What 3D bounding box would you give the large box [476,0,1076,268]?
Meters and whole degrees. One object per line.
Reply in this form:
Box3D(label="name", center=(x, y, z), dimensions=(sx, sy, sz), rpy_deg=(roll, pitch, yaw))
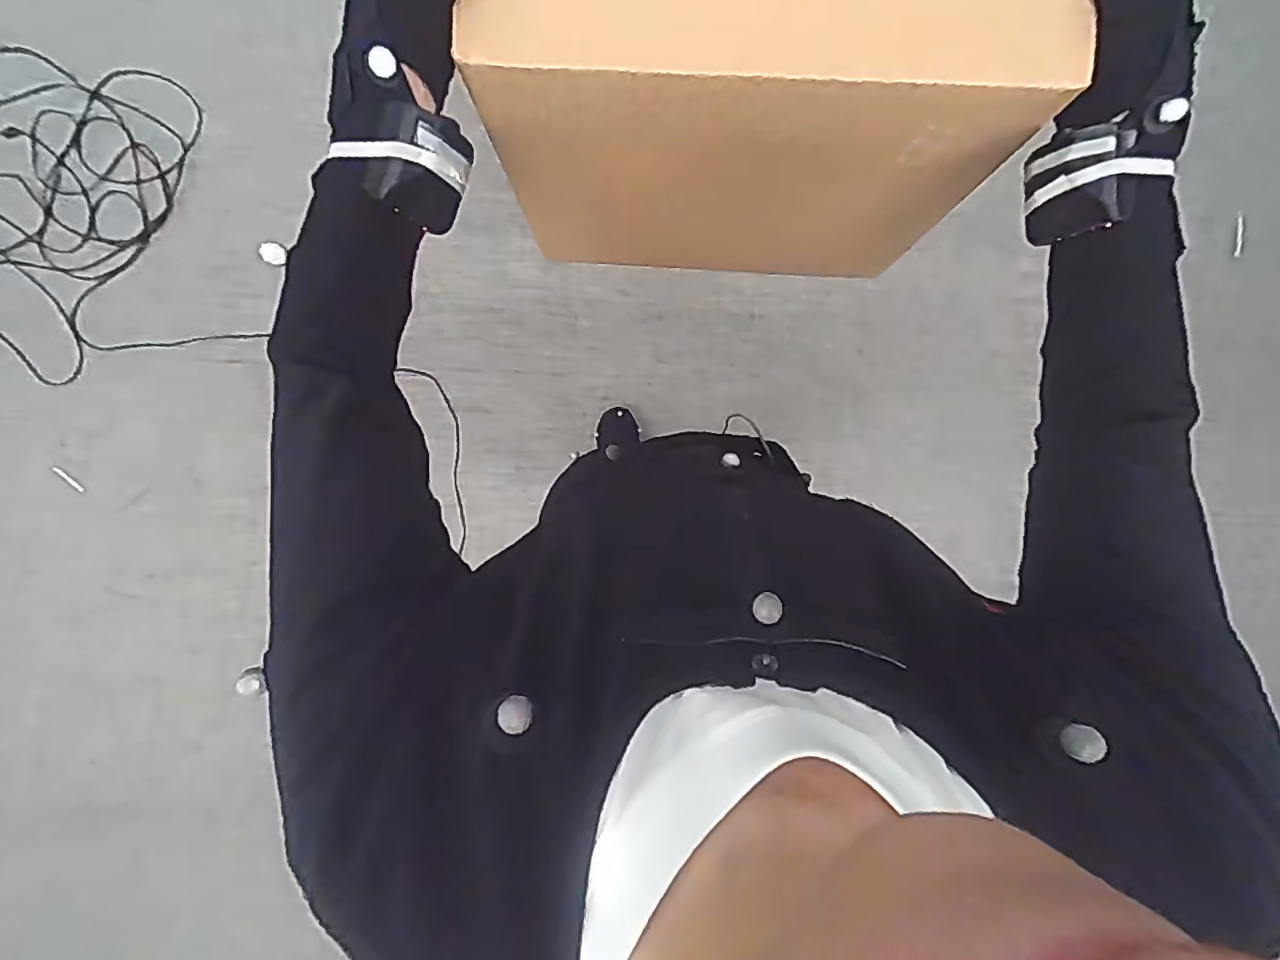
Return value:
Box3D(label="large box", center=(0.091, -0.414, 0.507), dimensions=(0.408, 0.320, 0.320), rpy_deg=(3, 90, 0))
